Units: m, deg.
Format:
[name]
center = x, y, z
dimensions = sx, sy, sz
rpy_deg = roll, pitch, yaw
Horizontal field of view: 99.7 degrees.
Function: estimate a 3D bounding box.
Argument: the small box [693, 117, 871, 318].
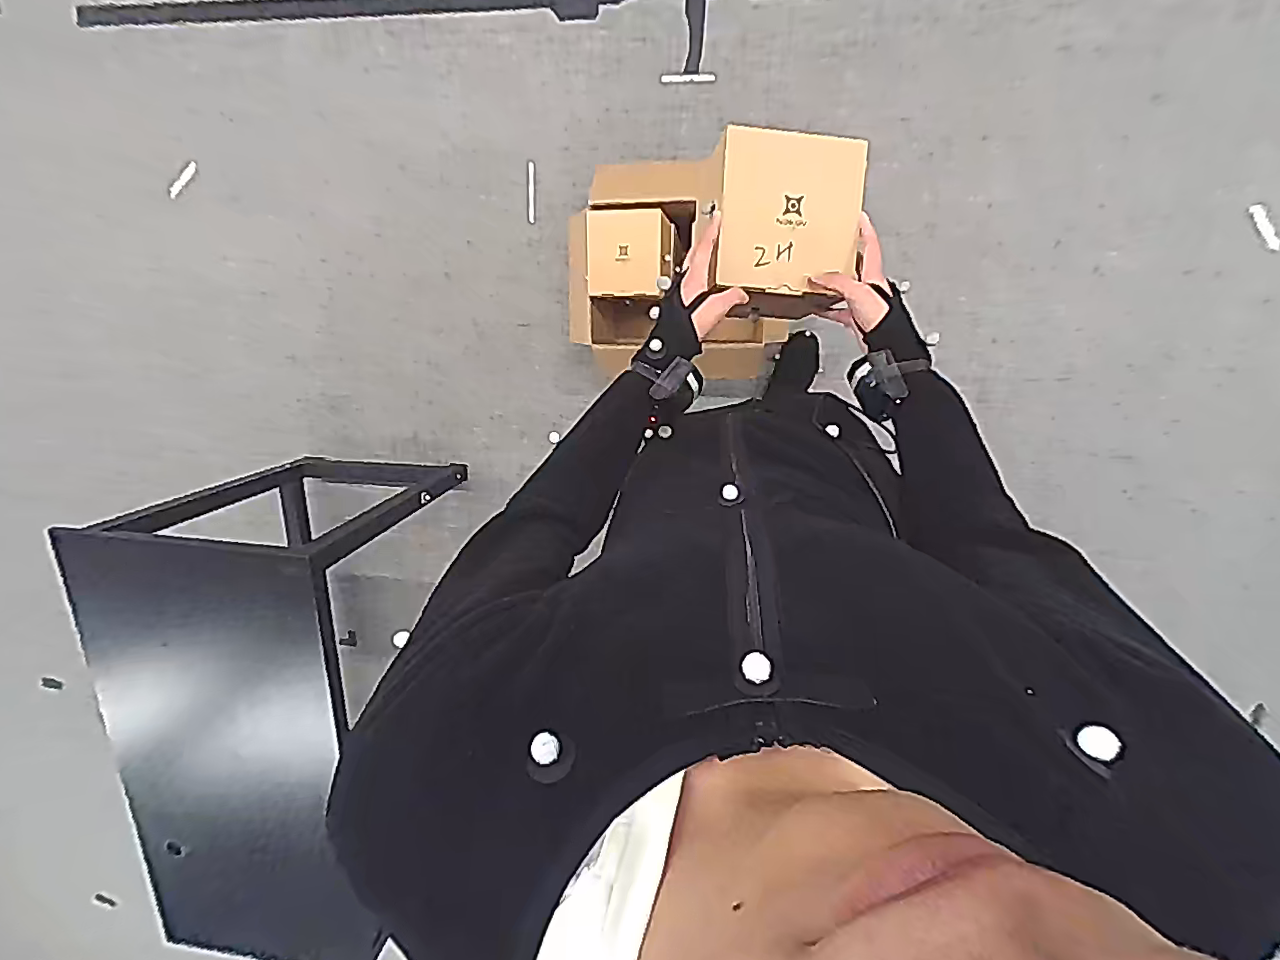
[small box]
center = 0.165, -0.314, 0.684
dimensions = 0.168, 0.176, 0.179
rpy_deg = 3, 97, -5
